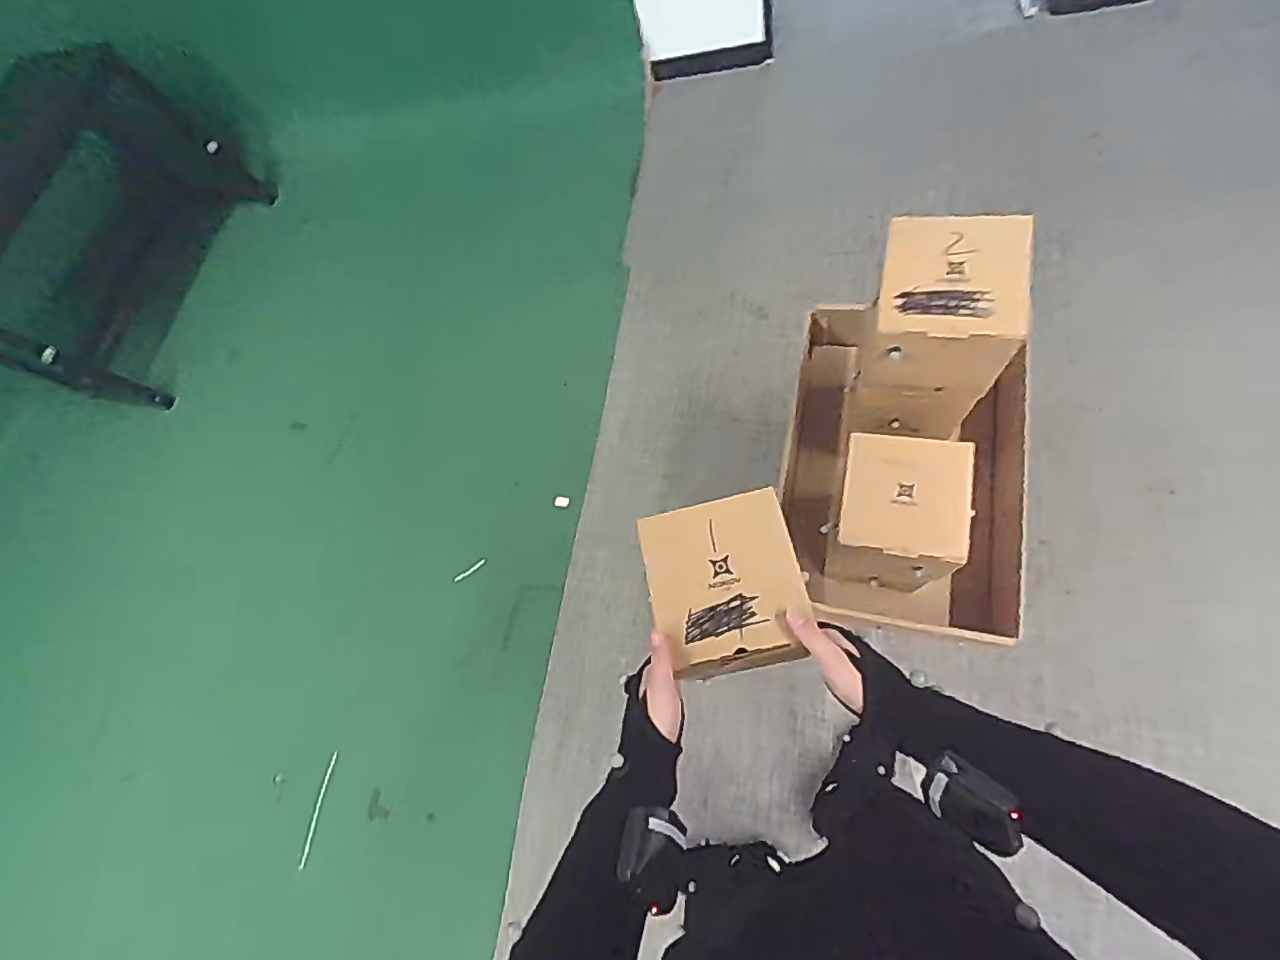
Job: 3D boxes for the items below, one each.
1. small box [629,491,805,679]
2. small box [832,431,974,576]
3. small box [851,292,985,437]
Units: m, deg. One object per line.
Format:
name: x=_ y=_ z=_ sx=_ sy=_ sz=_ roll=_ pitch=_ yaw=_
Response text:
small box: x=0.095 y=0.139 z=0.663 sx=0.168 sy=0.176 sz=0.179 roll=-14 pitch=63 yaw=6
small box: x=0.397 y=0.043 z=0.839 sx=0.168 sy=0.176 sz=0.179 roll=8 pitch=73 yaw=18
small box: x=0.456 y=-0.190 z=0.907 sx=0.168 sy=0.176 sz=0.179 roll=7 pitch=75 yaw=18
